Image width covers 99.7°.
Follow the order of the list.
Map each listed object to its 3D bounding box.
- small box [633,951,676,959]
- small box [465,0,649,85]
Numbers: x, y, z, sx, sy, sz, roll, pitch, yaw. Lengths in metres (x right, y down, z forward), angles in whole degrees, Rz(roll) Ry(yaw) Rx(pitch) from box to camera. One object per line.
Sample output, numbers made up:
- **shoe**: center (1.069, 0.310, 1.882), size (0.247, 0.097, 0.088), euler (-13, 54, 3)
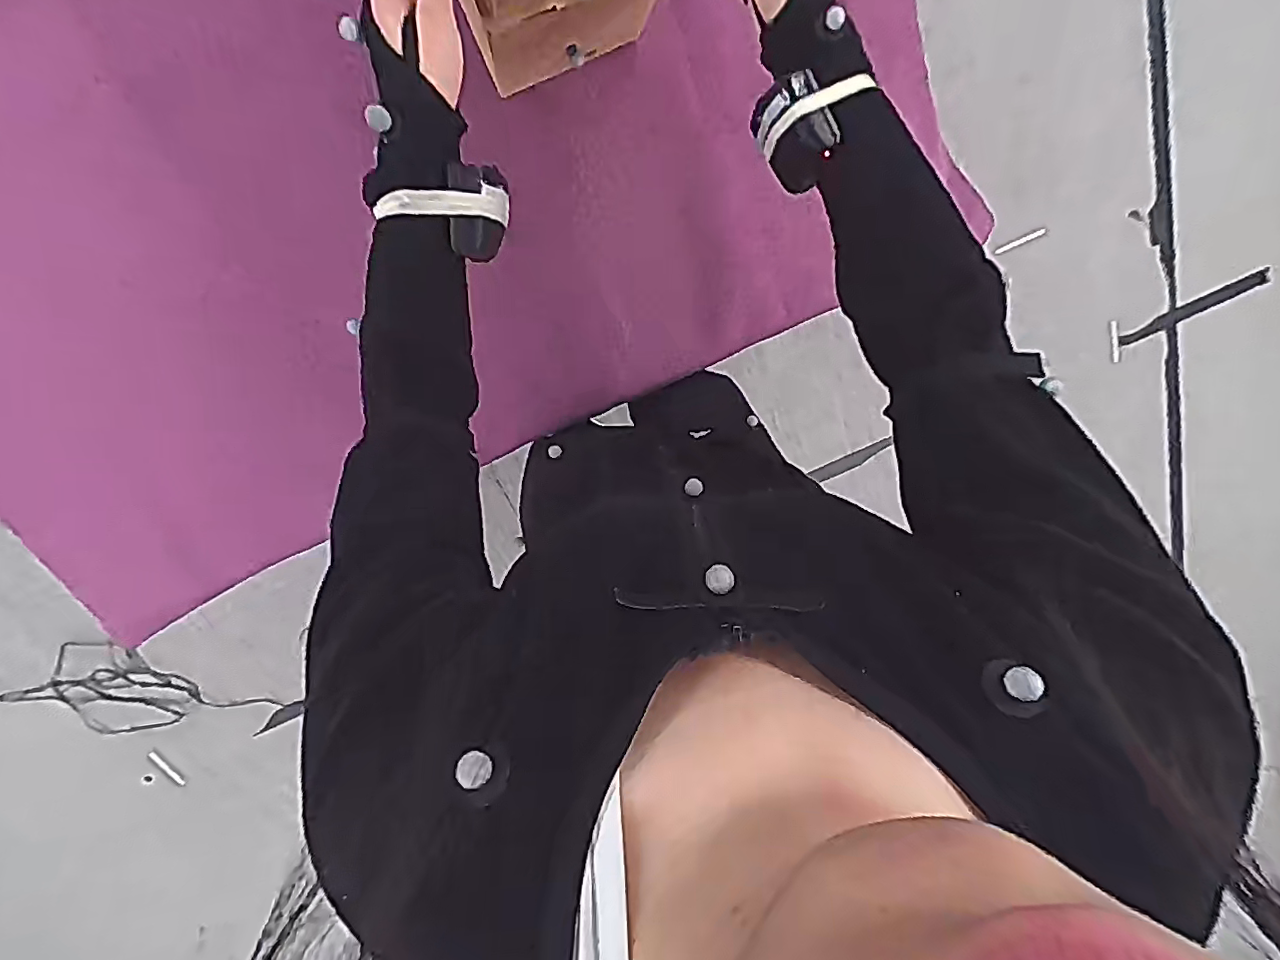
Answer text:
- **small box**: center (0.041, 1.672, 1.743), size (0.168, 0.176, 0.179), euler (25, 104, -17)
- **small box**: center (-0.093, -0.497, 0.475), size (0.168, 0.176, 0.179), euler (-24, 113, -1)
